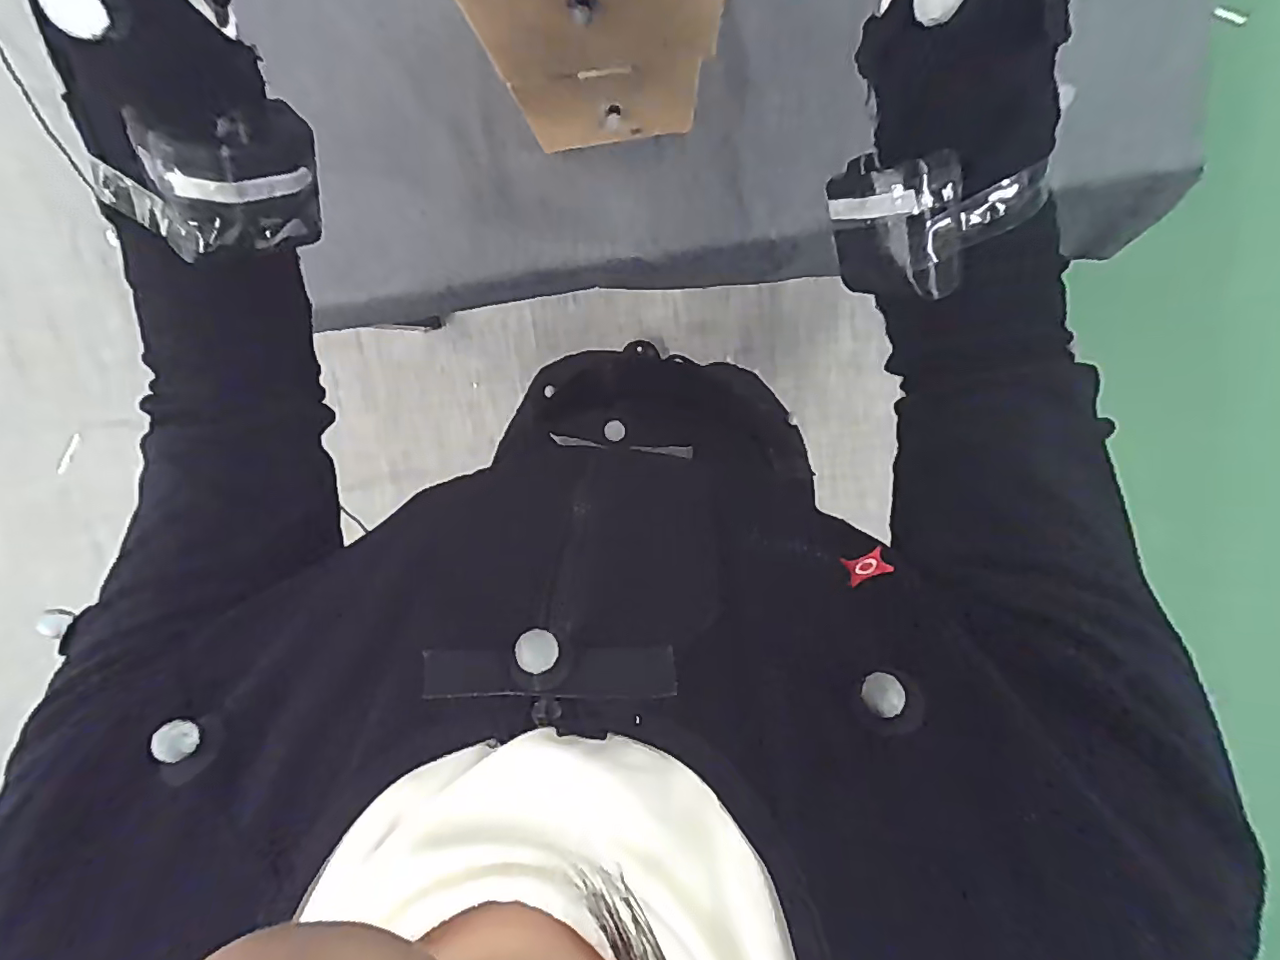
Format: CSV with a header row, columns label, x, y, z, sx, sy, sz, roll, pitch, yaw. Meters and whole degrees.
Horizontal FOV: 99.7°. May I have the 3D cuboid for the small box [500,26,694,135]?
label,x,y,z,sx,sy,sz,roll,pitch,yaw
small box,-0.041,-0.444,0.496,0.168,0.176,0.179,-8,104,5

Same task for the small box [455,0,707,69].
label,x,y,z,sx,sy,sz,roll,pitch,yaw
small box,-0.043,-0.397,0.338,0.179,0.176,0.168,-5,104,5
